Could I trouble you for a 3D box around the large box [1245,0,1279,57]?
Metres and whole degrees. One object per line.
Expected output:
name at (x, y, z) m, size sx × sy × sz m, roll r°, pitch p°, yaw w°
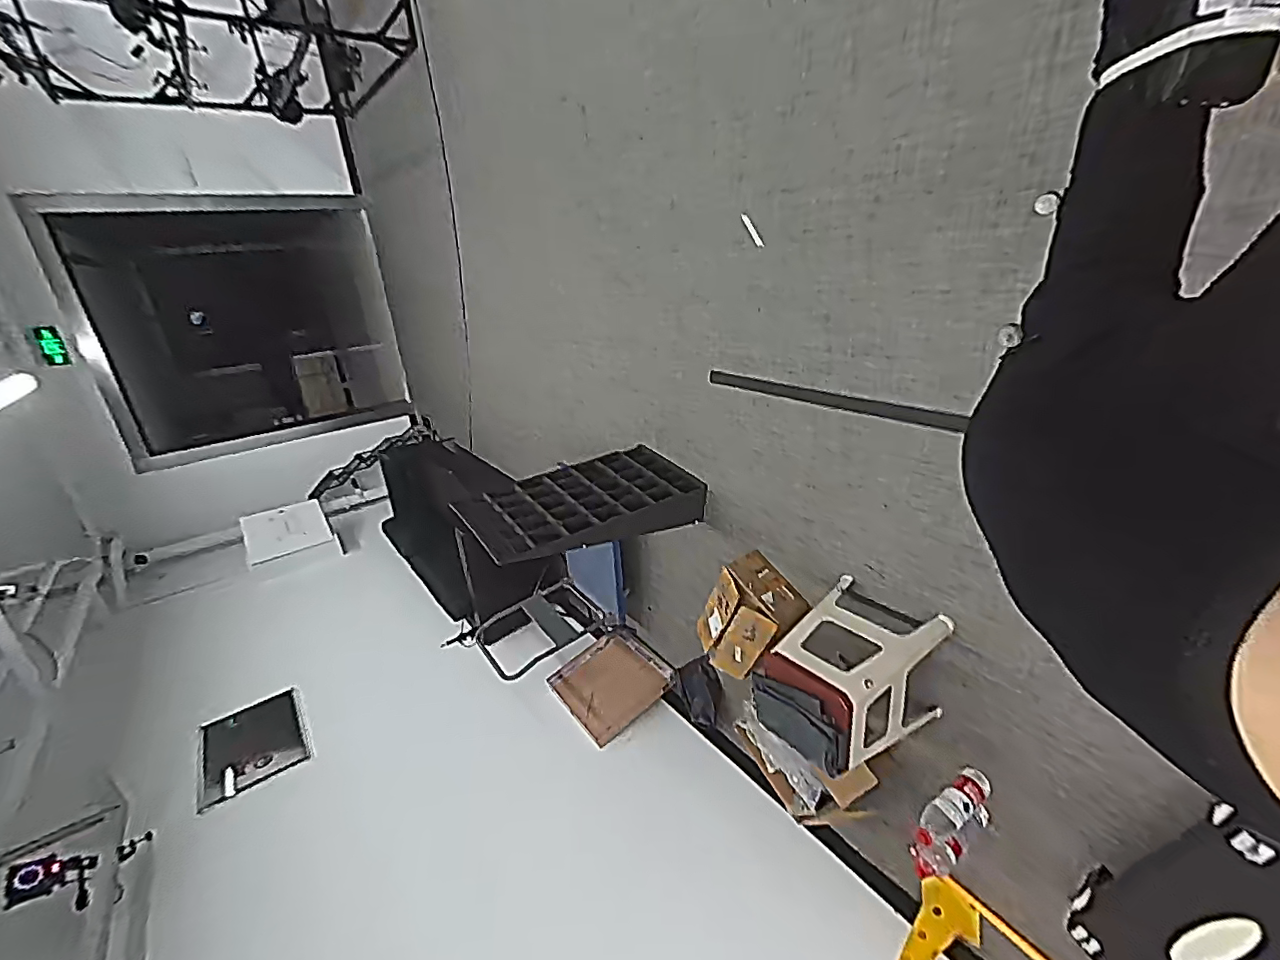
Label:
large box at (0.595, -0.472, 0.237) m, size 0.408 × 0.320 × 0.320 m, roll 14°, pitch 119°, yaw 50°
